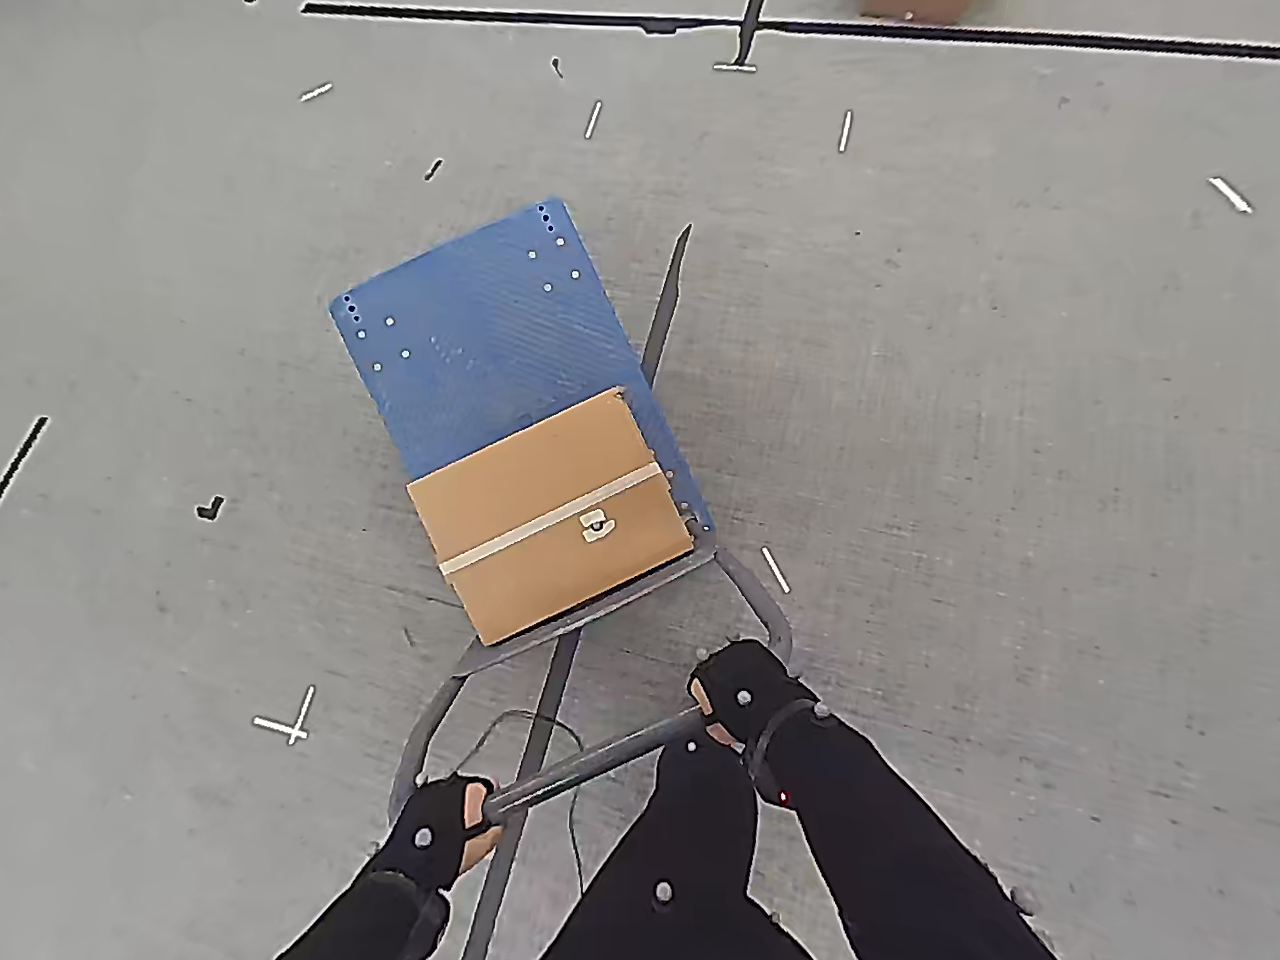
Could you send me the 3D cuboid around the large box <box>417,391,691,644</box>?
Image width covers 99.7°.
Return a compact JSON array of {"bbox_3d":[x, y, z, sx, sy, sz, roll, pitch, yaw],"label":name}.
[{"bbox_3d":[-0.156,0.067,1.098,0.408,0.320,0.320,-26,92,-2],"label":"large box"}]
